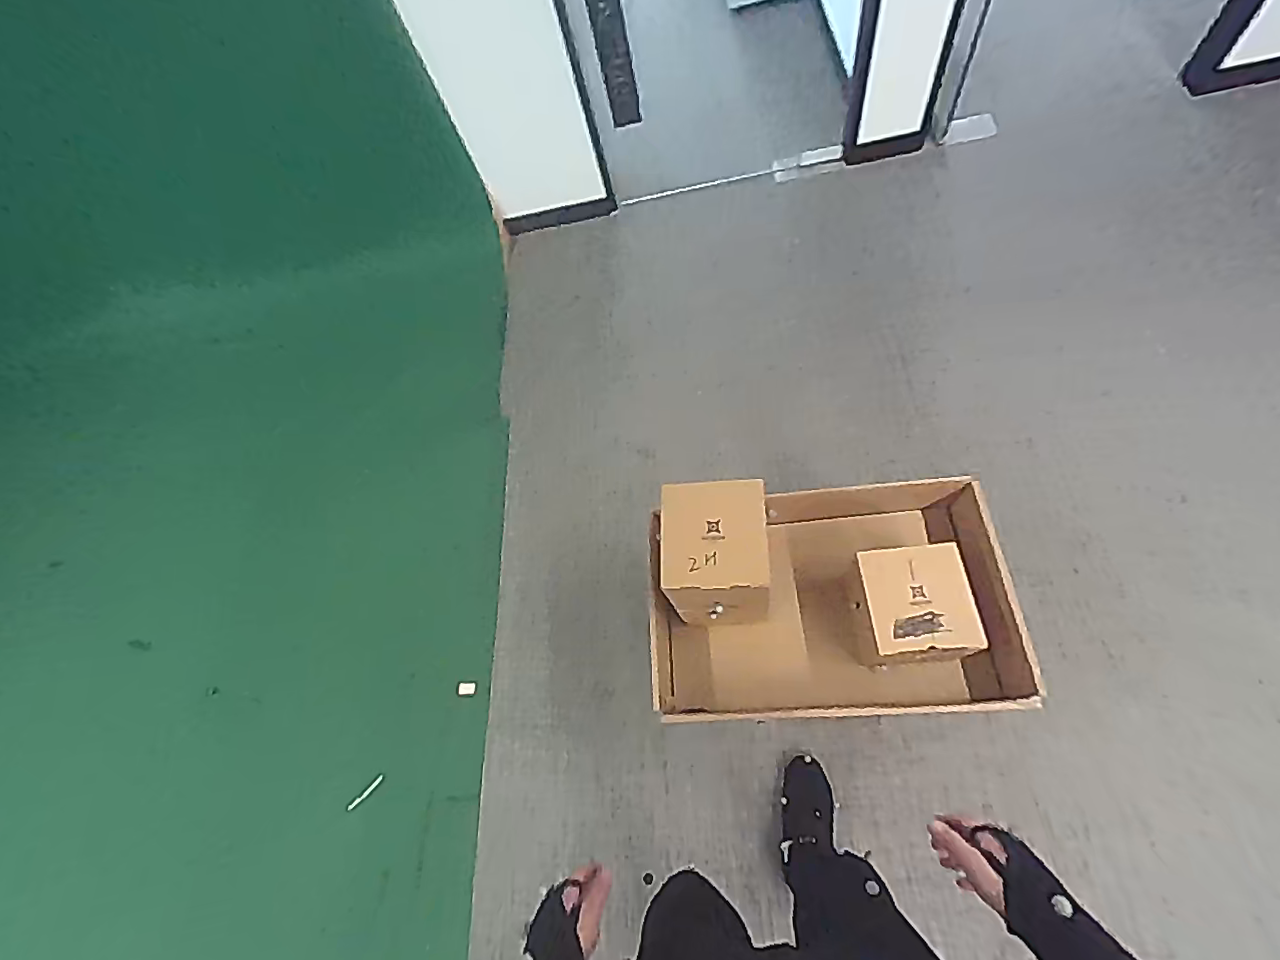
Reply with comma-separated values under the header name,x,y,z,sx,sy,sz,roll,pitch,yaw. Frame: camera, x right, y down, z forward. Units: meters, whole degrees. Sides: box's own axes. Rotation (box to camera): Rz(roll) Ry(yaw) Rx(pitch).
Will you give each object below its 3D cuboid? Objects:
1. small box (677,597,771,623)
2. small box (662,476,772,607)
name,x,y,z,sx,sy,sz,roll,pitch,yaw
small box,0.162,0.175,1.057,0.168,0.176,0.179,-4,65,10
small box,0.132,0.108,0.910,0.168,0.176,0.179,-3,66,12
